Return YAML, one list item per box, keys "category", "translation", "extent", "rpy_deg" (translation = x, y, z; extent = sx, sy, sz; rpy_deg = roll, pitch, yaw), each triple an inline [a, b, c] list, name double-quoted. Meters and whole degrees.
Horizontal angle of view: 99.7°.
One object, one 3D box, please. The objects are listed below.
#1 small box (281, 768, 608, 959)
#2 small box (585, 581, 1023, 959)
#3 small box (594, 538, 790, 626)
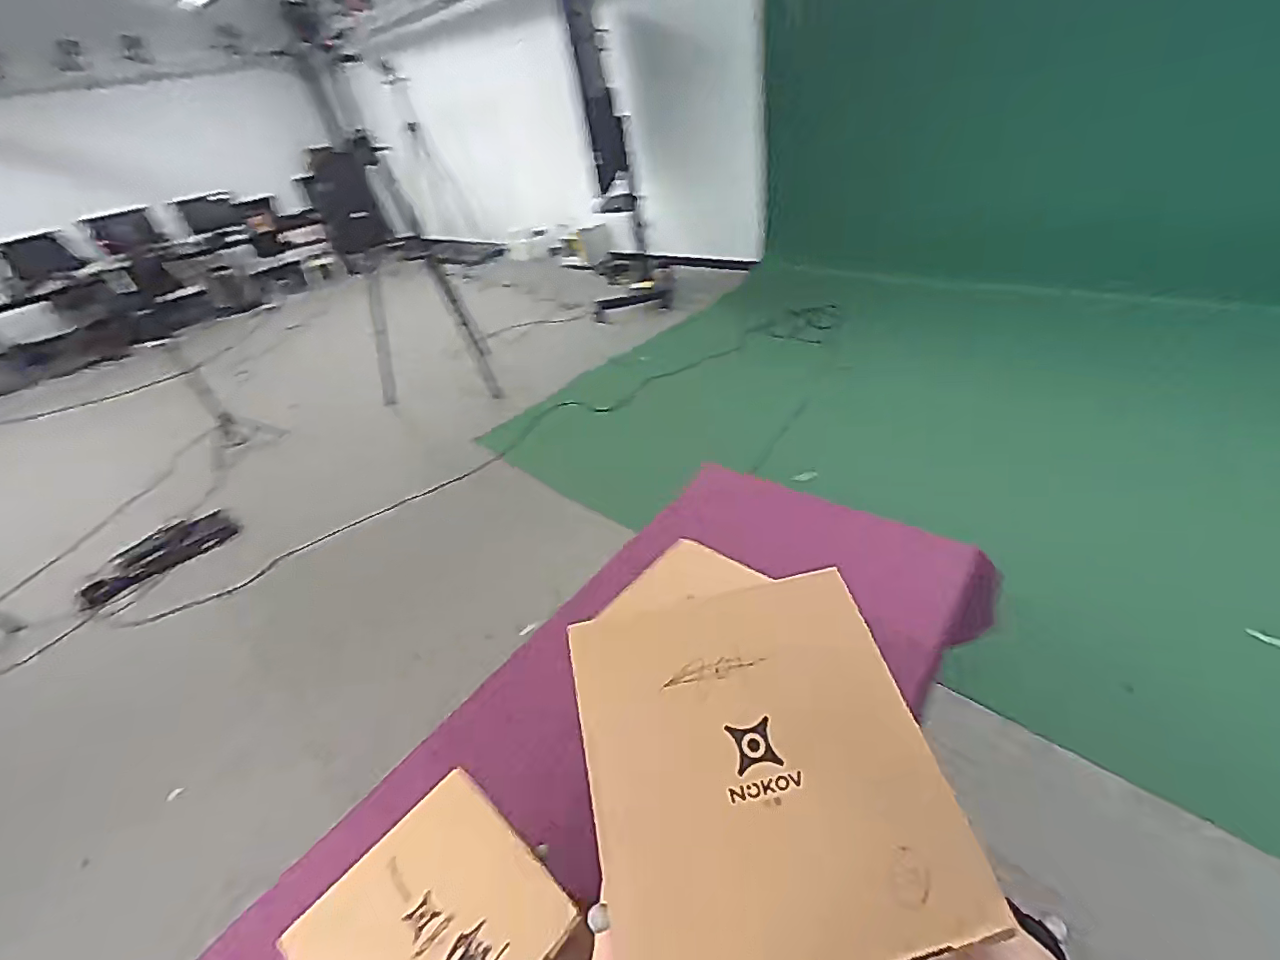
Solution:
- category: "small box"
  translation: [-0.148, 0.396, 0.453]
  extent: [0.179, 0.176, 0.168]
  rpy_deg: [23, 48, 38]
- category: "small box"
  translation: [0.065, 0.188, 0.325]
  extent: [0.168, 0.176, 0.179]
  rpy_deg: [-9, 52, -5]
- category: "small box"
  translation: [0.073, 0.206, 0.647]
  extent: [0.179, 0.176, 0.168]
  rpy_deg: [25, 50, 38]
